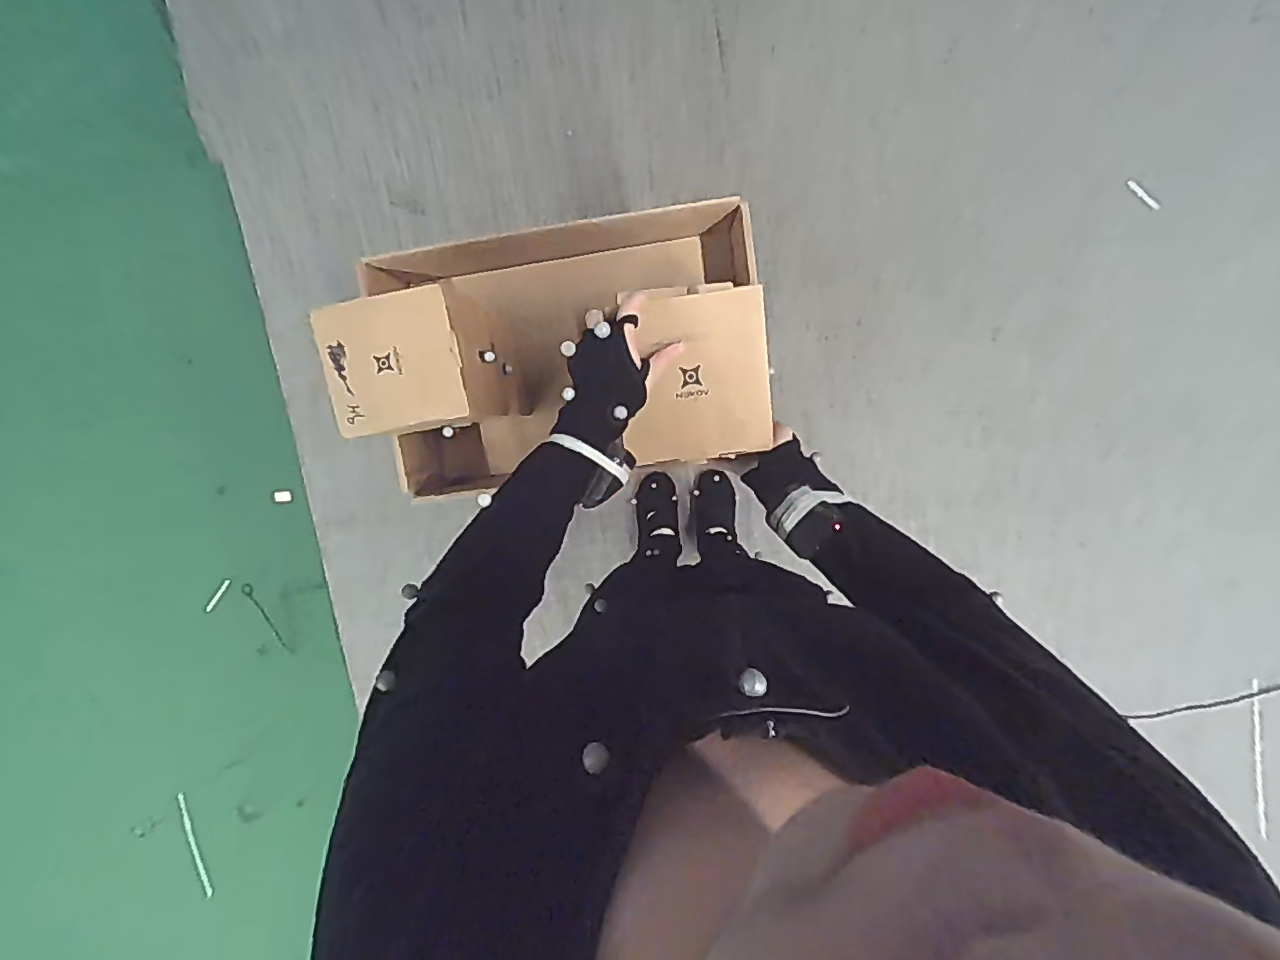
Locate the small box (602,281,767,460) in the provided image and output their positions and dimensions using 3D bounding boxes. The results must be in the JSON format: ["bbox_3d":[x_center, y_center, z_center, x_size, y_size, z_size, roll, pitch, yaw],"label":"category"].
[{"bbox_3d":[0.055,-0.133,0.651,0.168,0.176,0.179,-6,105,5],"label":"small box"}]

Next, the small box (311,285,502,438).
[{"bbox_3d":[-0.304,-0.157,0.748,0.179,0.176,0.168,-10,97,5],"label":"small box"}]
